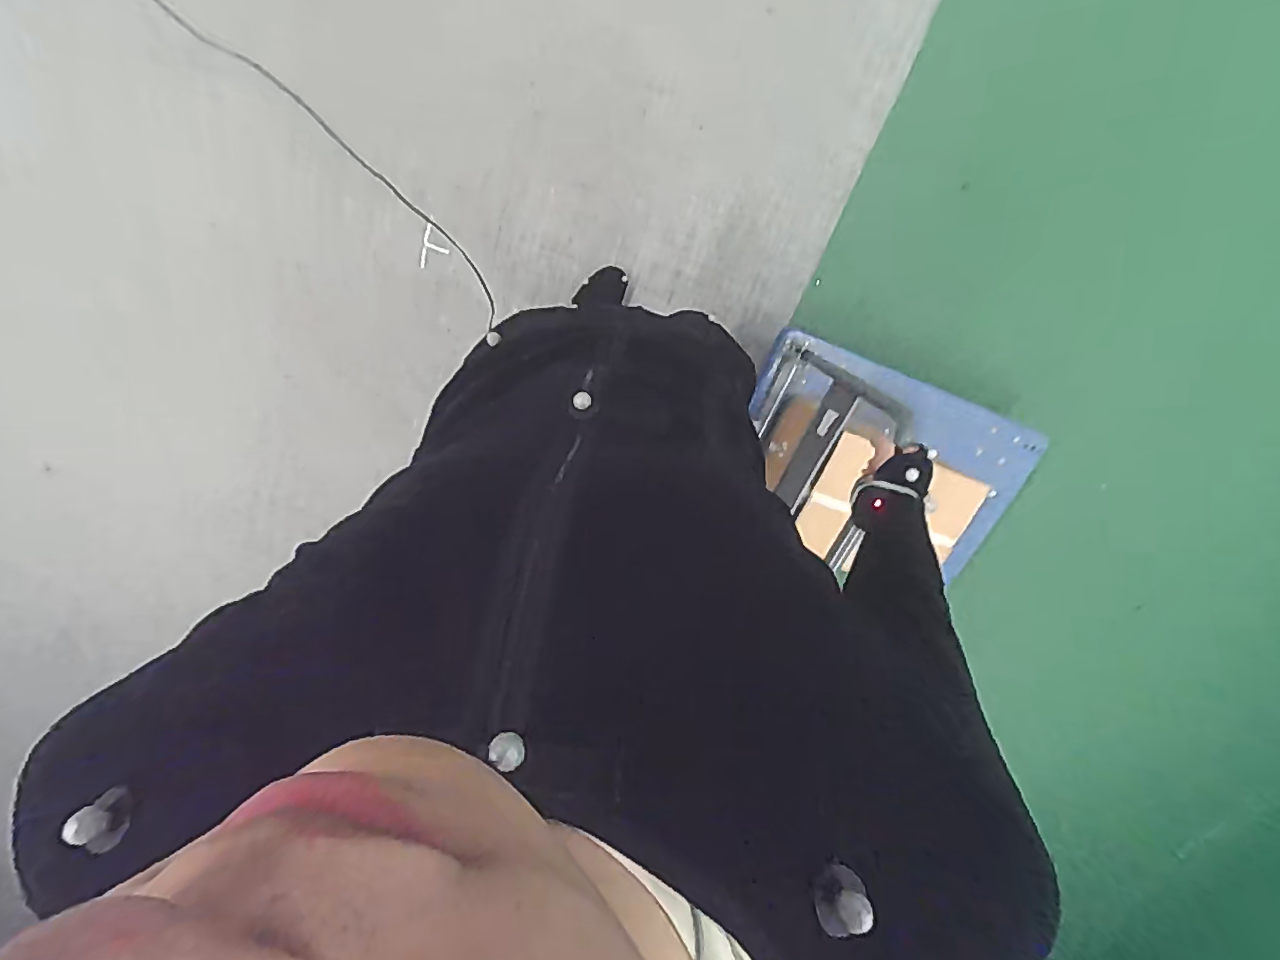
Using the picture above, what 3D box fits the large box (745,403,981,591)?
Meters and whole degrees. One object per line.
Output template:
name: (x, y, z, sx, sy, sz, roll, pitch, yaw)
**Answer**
large box: (0.543, 0.034, 1.402, 0.408, 0.320, 0.320, 19, 111, -12)
